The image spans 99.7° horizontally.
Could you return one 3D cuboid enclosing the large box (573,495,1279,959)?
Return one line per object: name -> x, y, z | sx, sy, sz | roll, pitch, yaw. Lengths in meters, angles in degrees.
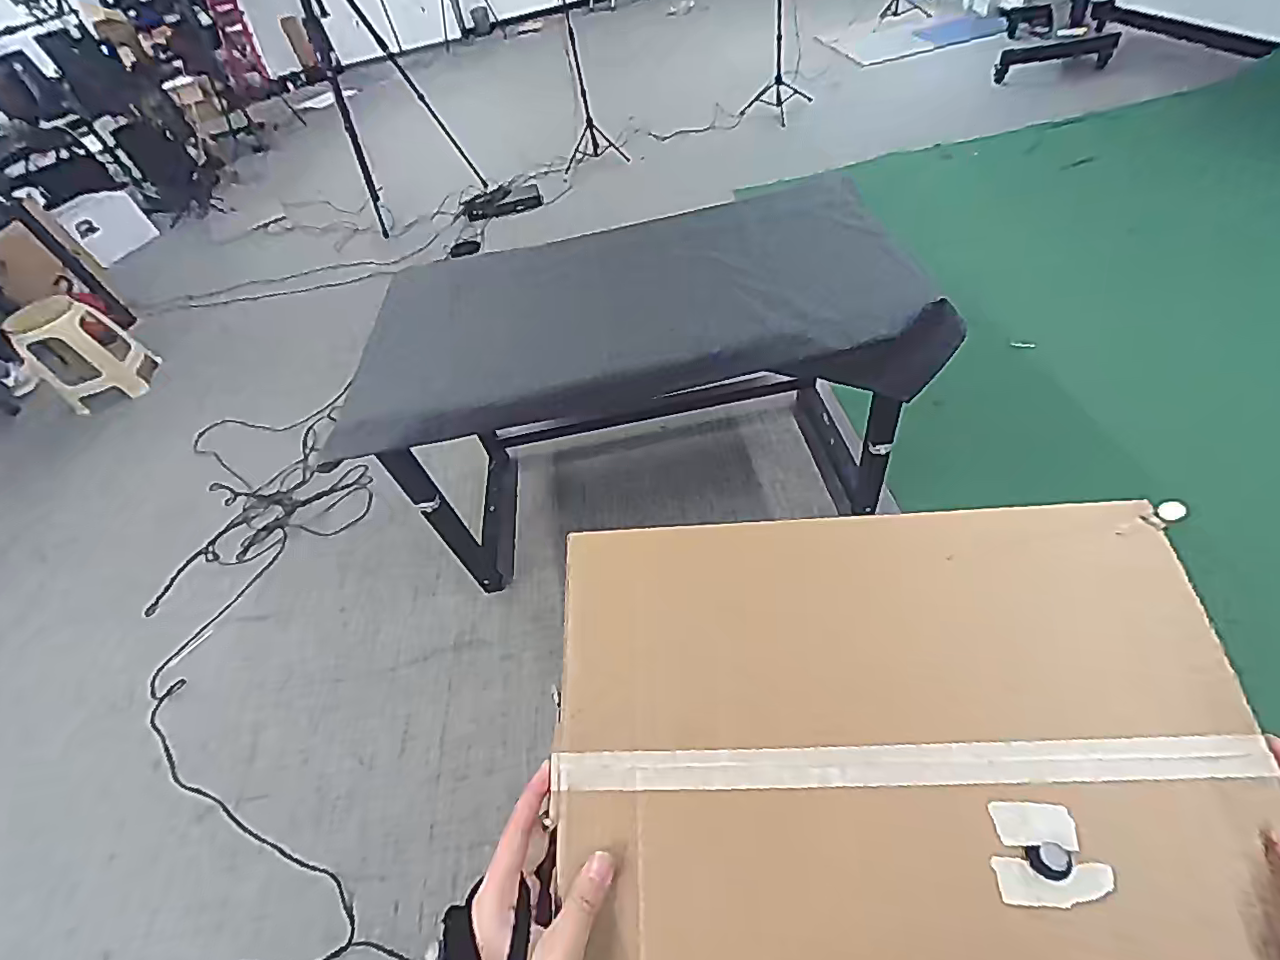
large box -> 0.167, 0.228, 0.469 | 0.408, 0.320, 0.320 | -4, 64, 4
